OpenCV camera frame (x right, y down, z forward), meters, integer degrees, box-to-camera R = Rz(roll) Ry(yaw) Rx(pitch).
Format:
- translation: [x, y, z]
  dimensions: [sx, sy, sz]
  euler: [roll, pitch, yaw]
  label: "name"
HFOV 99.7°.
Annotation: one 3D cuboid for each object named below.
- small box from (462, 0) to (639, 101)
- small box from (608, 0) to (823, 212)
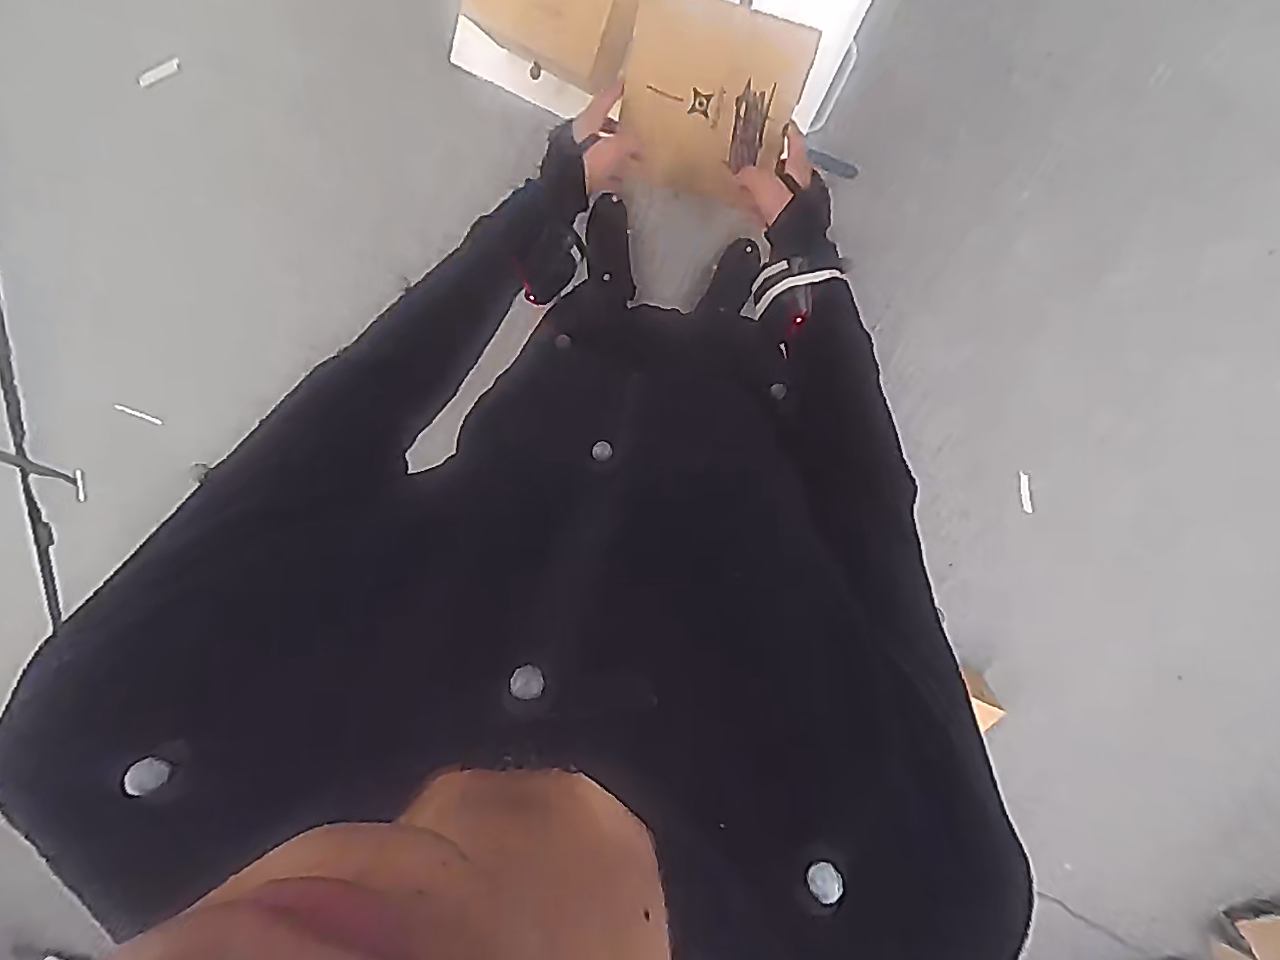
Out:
- translation: [-0.093, -0.614, 0.671]
  dimensions: [0.168, 0.176, 0.179]
  euler: [24, 116, -6]
  label: "small box"
- translation: [0.072, -0.423, 0.603]
  dimensions: [0.179, 0.176, 0.168]
  euler: [13, 125, -5]
  label: "small box"
